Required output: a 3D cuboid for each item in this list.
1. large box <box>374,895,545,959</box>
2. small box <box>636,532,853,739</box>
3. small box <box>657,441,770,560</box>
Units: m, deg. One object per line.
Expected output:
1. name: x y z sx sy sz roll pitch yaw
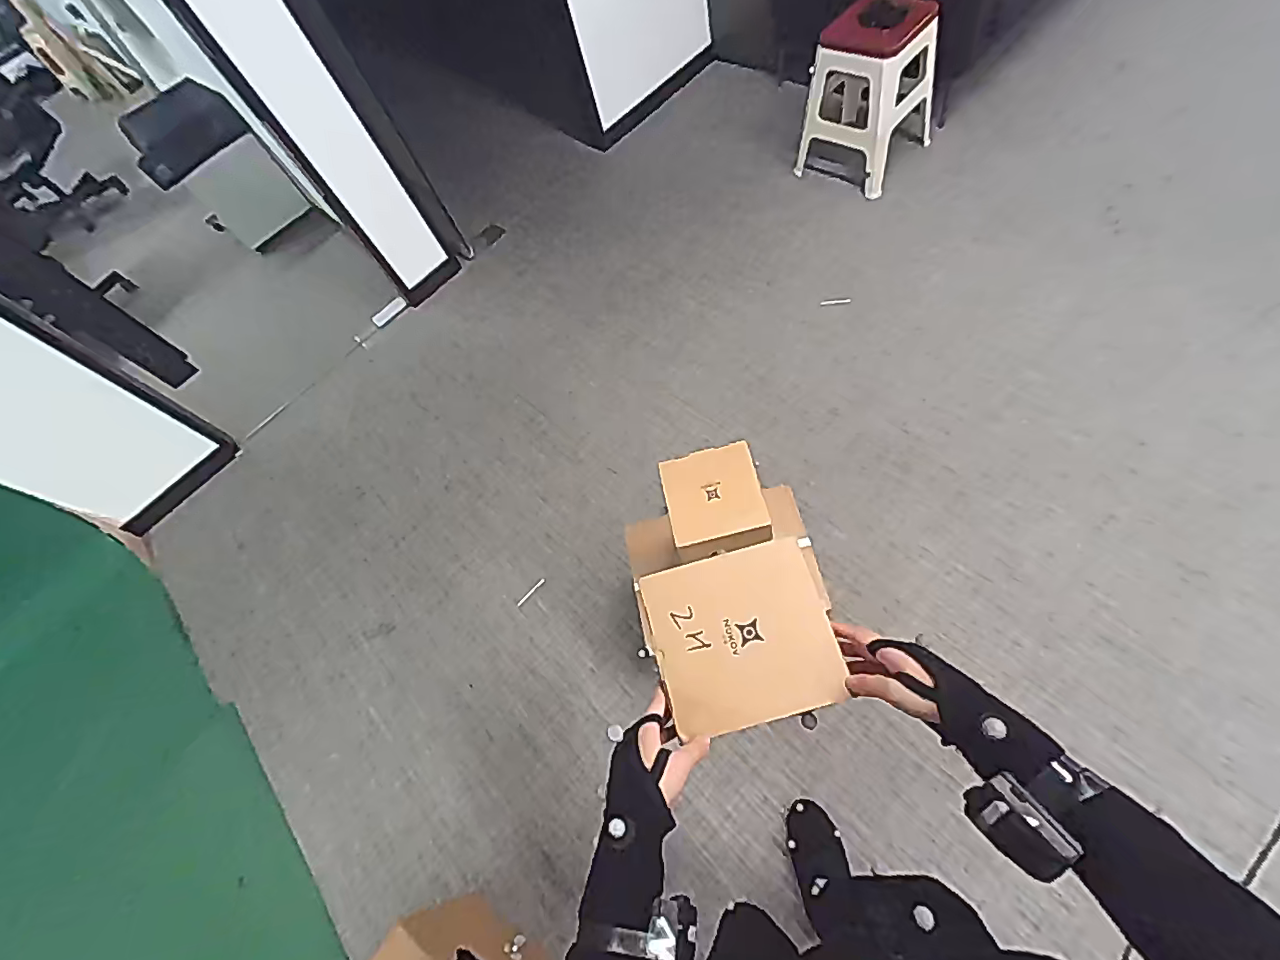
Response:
1. large box: -0.399 1.125 1.033 0.320 0.320 0.408 23 71 26
2. small box: 0.106 0.178 0.606 0.179 0.176 0.168 -16 65 1
3. small box: 0.141 0.061 1.001 0.168 0.176 0.179 -15 57 6
